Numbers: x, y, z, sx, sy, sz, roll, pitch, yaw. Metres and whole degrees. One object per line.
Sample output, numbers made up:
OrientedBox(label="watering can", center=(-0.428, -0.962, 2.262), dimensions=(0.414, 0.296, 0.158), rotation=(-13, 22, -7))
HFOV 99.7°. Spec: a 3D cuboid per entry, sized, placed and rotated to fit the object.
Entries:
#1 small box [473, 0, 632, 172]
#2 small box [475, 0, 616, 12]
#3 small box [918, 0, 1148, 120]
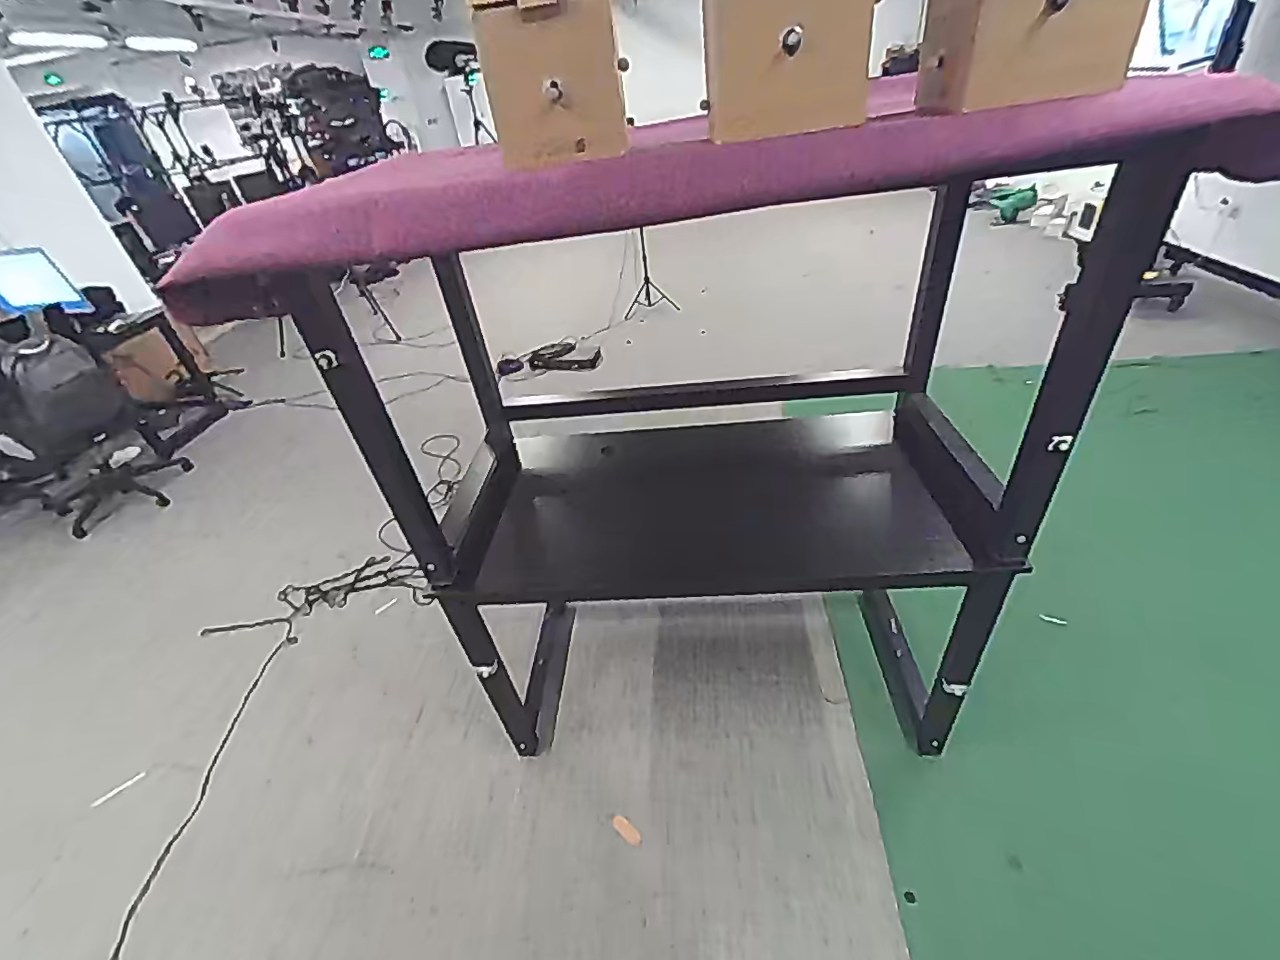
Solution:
OrientedBox(label="small box", center=(-0.102, -0.524, 0.728), dimensions=(0.168, 0.176, 0.179), rotation=(-5, 36, 4))
OrientedBox(label="small box", center=(-0.121, -0.654, 0.631), dimensions=(0.168, 0.176, 0.179), rotation=(-7, 33, 2))
OrientedBox(label="small box", center=(0.453, -0.541, 0.633), dimensions=(0.179, 0.176, 0.168), rotation=(-4, 36, 9))
